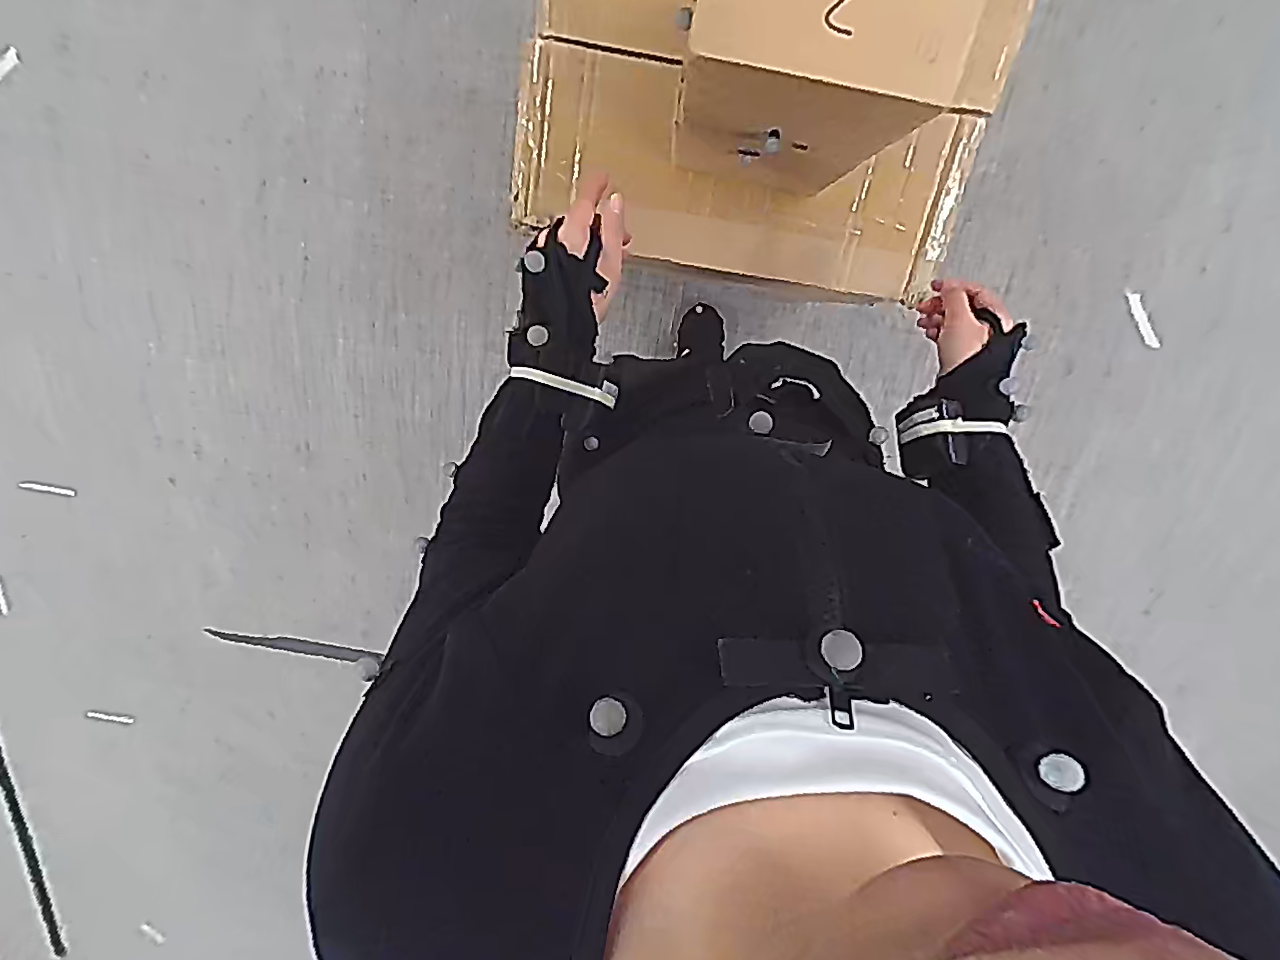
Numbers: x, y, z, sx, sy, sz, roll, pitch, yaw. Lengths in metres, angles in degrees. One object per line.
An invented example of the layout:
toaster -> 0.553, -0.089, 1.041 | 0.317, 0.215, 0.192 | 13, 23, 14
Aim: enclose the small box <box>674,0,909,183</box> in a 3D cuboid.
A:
small box -> 0.134, -0.406, 0.526 | 0.179, 0.176, 0.168 | 11, 109, -1
